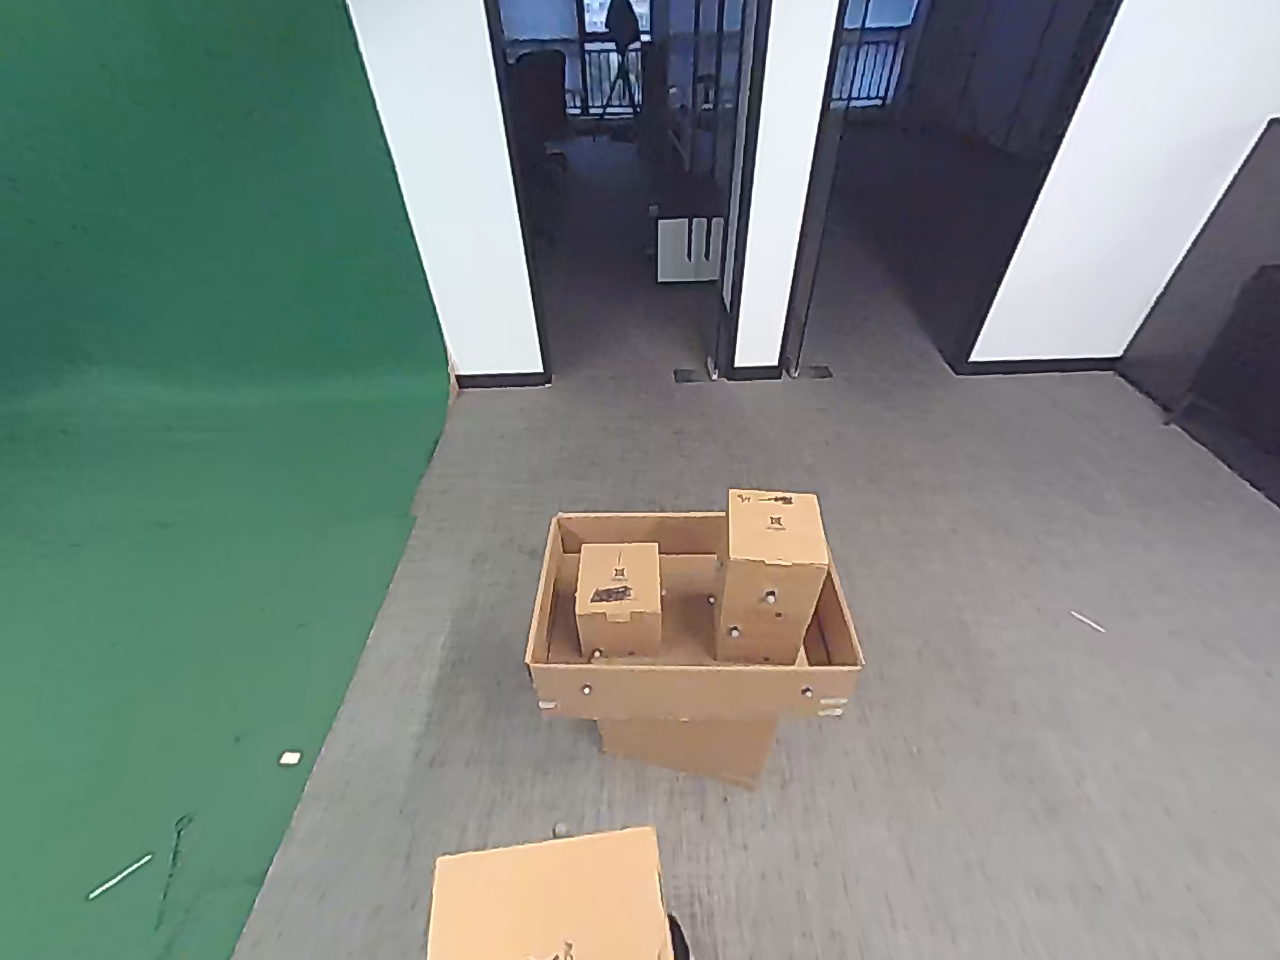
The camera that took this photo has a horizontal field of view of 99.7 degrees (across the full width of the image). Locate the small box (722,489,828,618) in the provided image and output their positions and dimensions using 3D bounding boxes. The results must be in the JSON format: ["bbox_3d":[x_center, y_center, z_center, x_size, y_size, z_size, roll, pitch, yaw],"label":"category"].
[{"bbox_3d":[0.243,0.138,1.009,0.168,0.176,0.179,4,43,6],"label":"small box"}]

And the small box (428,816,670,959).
[{"bbox_3d":[-0.065,0.398,0.447,0.179,0.176,0.168,-5,49,-5],"label":"small box"}]
